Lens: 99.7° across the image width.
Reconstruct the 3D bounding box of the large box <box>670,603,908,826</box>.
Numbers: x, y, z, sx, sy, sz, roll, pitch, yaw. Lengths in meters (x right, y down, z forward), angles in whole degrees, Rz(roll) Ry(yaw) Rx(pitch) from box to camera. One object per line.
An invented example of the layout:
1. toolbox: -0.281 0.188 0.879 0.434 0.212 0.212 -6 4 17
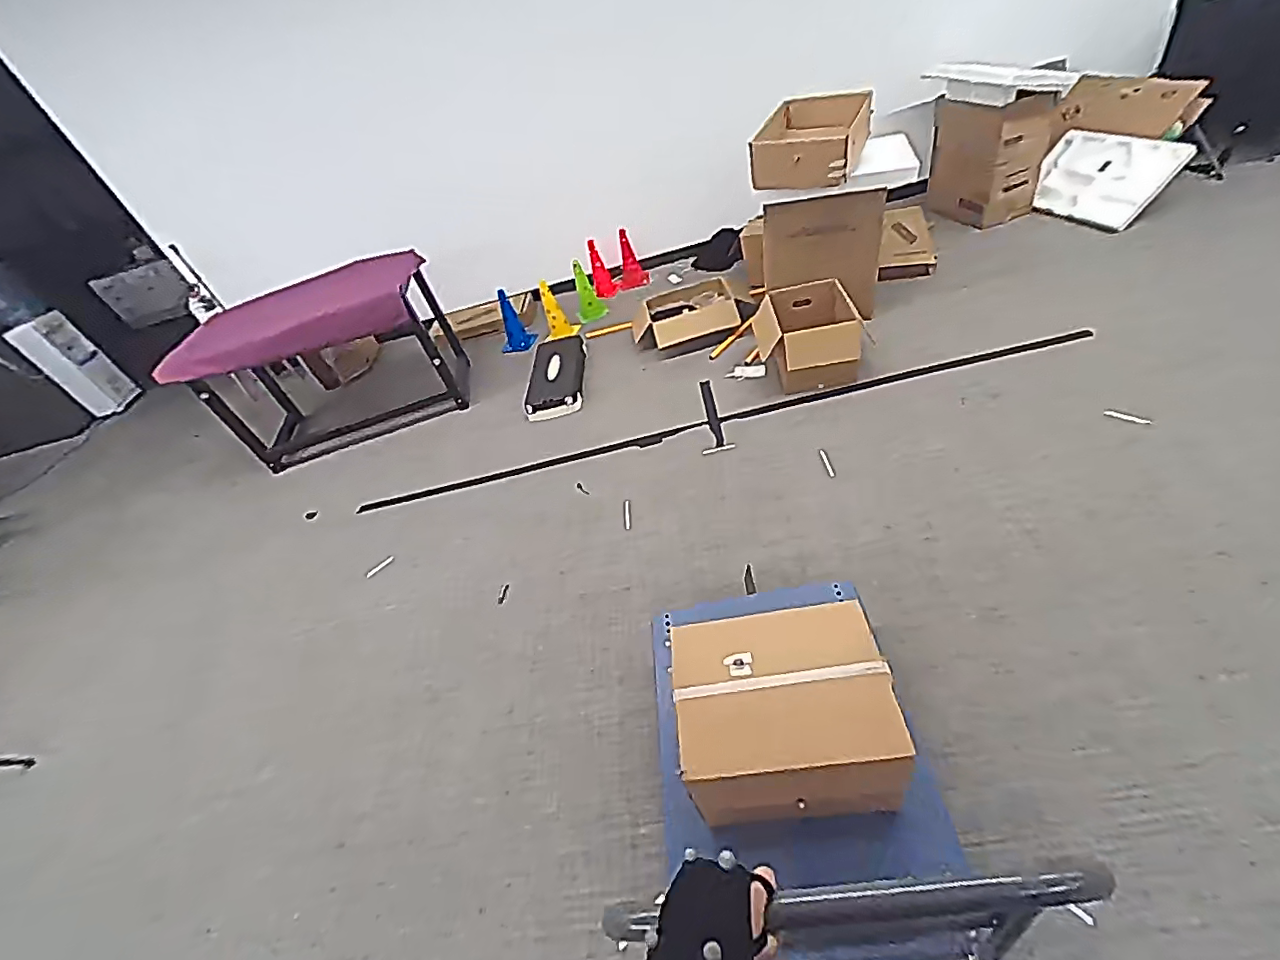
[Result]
1. large box: 0.301 0.507 1.157 0.408 0.320 0.320 -12 41 9
